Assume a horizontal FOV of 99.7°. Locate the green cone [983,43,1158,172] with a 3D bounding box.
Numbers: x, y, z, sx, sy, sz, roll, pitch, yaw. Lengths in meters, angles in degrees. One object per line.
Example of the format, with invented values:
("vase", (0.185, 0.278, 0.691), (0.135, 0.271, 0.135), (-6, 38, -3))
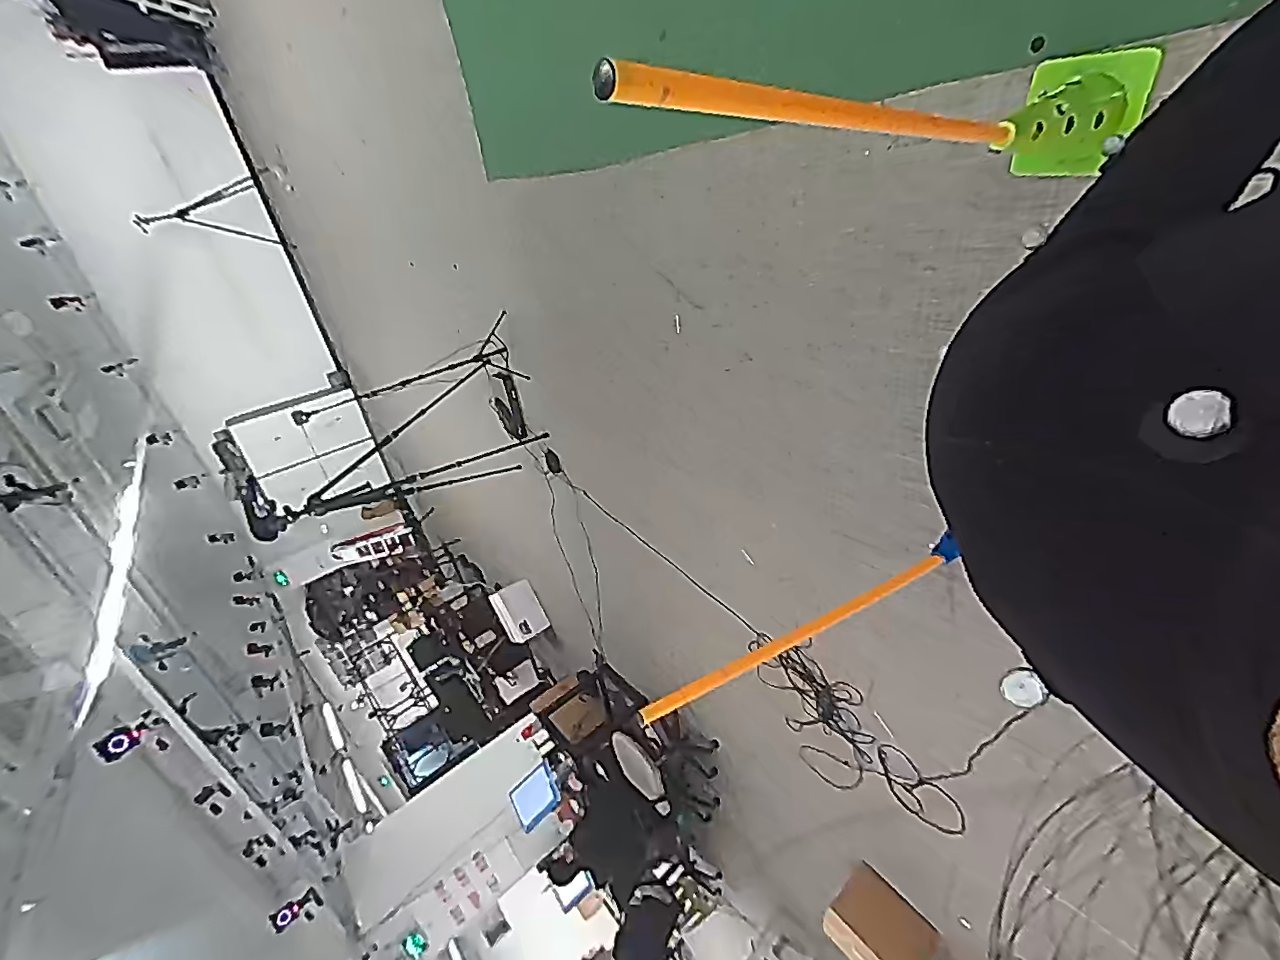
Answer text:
("green cone", (0.735, -0.657, 0.985), (0.202, 0.368, 0.200), (30, 138, 43))
